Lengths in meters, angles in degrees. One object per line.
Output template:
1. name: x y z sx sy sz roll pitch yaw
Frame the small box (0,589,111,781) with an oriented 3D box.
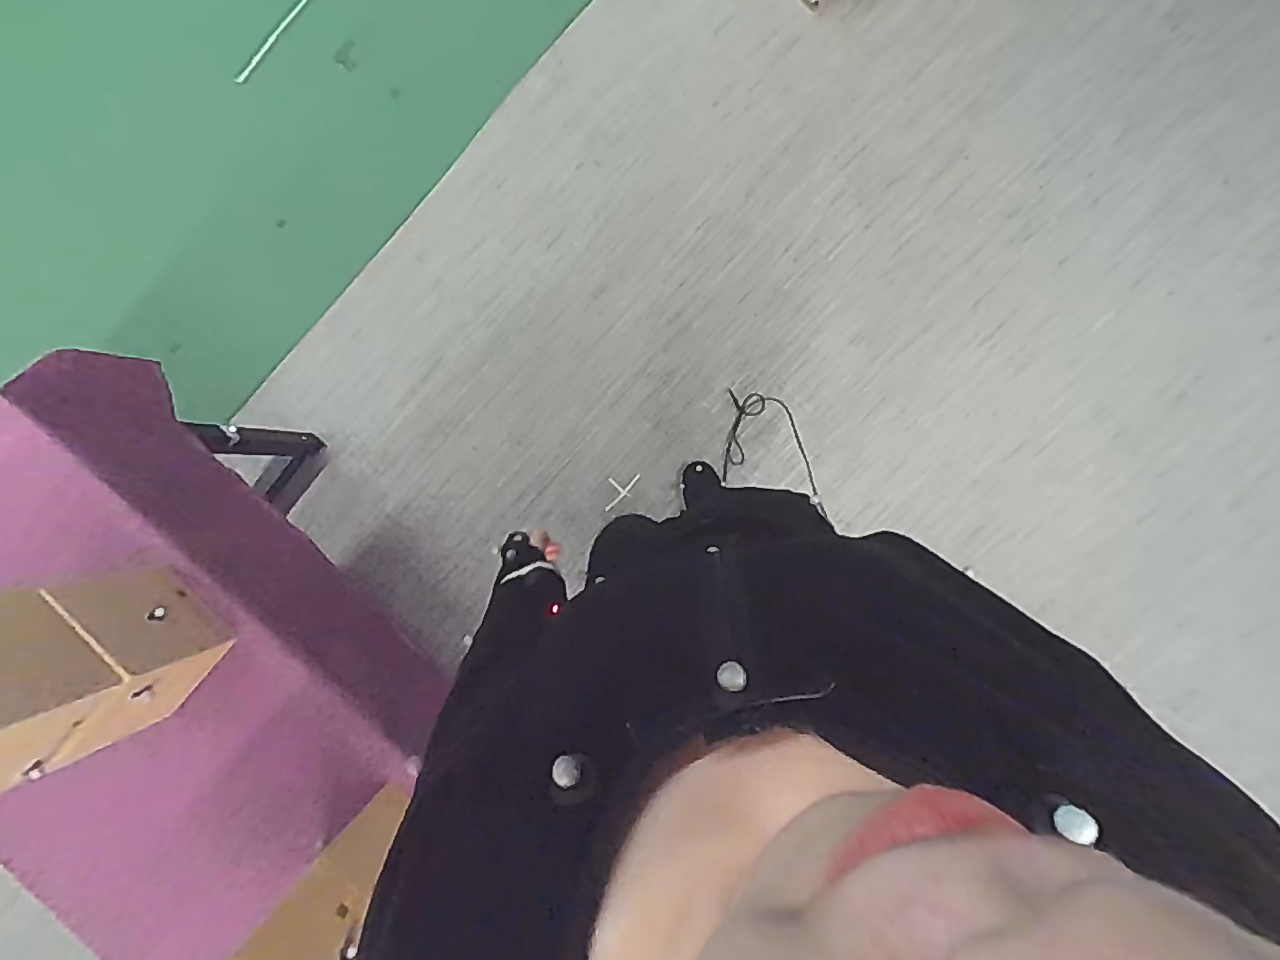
1. small box: -0.762 0.245 0.595 0.179 0.176 0.168 44 94 3

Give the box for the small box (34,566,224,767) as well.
1. small box: -0.741 0.244 0.758 0.168 0.176 0.179 44 94 2

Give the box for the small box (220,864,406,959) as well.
1. small box: -0.391 0.577 0.577 0.168 0.176 0.179 40 94 2
